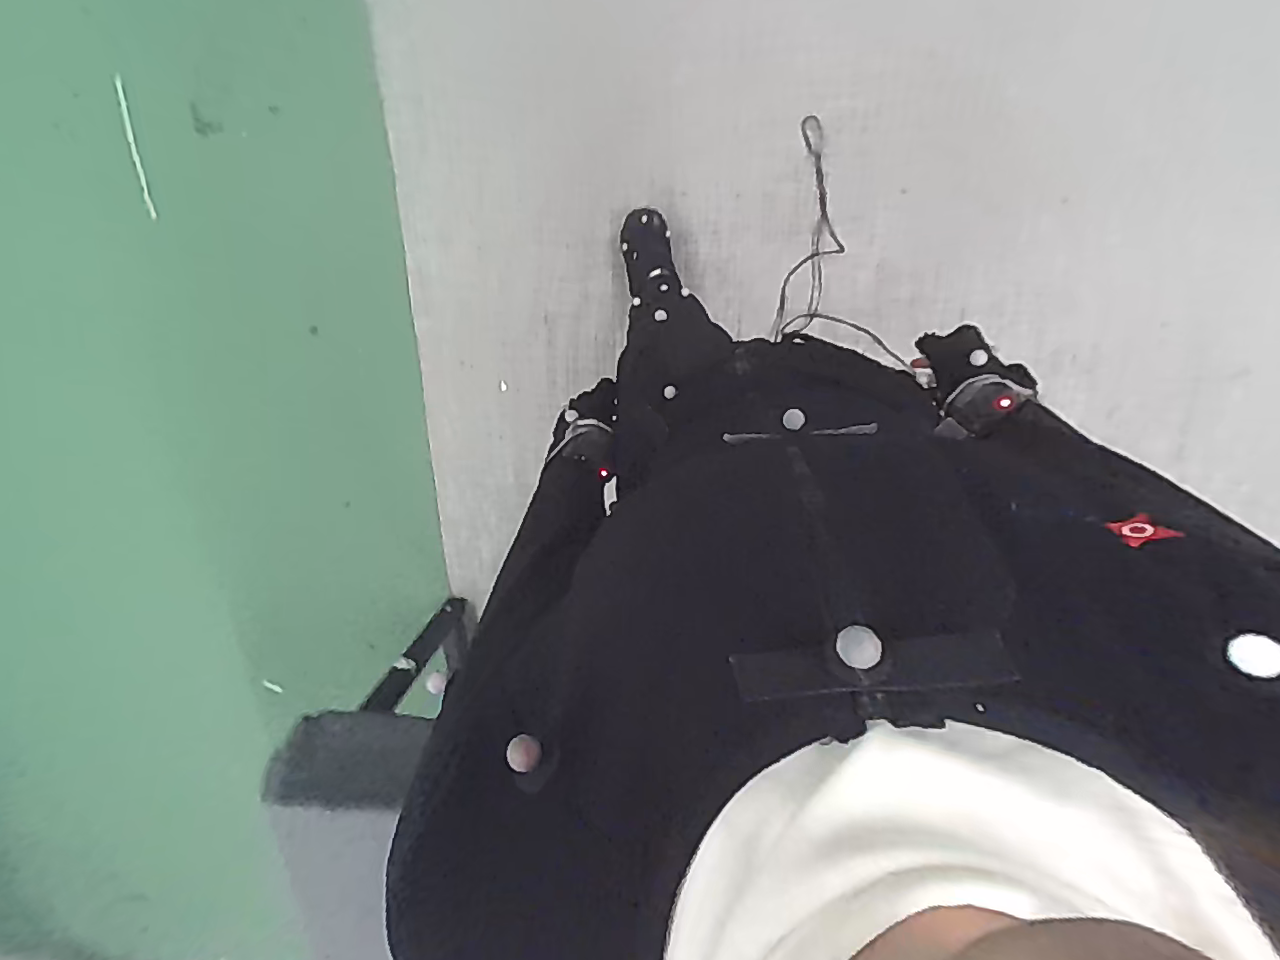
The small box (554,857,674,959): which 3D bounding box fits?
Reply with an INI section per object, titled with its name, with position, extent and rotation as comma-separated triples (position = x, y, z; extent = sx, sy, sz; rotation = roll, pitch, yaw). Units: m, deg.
[small box]
position = -0.035, 0.767, 0.897
extent = 0.179, 0.176, 0.168
rotation = 2, 109, 7
